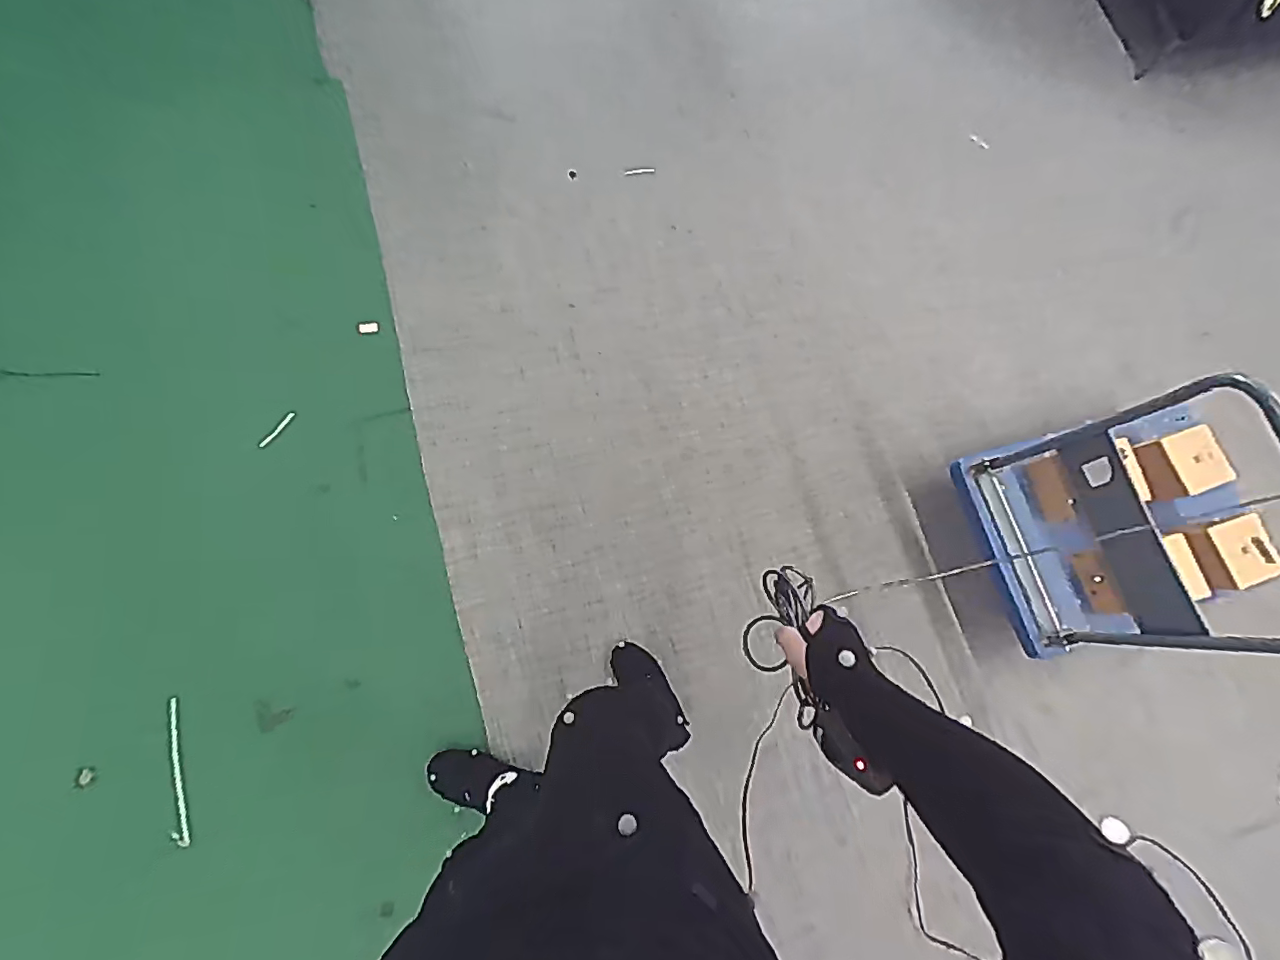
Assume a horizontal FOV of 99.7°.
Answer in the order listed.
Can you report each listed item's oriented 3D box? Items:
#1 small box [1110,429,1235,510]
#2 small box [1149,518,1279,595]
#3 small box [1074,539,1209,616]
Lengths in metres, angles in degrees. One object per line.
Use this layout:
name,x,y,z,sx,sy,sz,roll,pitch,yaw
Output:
small box,1.497,-0.025,1.538,0.179,0.176,0.168,-16,78,-12
small box,1.567,0.215,1.482,0.179,0.176,0.168,-14,77,-11
small box,1.319,0.261,1.434,0.179,0.176,0.168,-11,77,-11
